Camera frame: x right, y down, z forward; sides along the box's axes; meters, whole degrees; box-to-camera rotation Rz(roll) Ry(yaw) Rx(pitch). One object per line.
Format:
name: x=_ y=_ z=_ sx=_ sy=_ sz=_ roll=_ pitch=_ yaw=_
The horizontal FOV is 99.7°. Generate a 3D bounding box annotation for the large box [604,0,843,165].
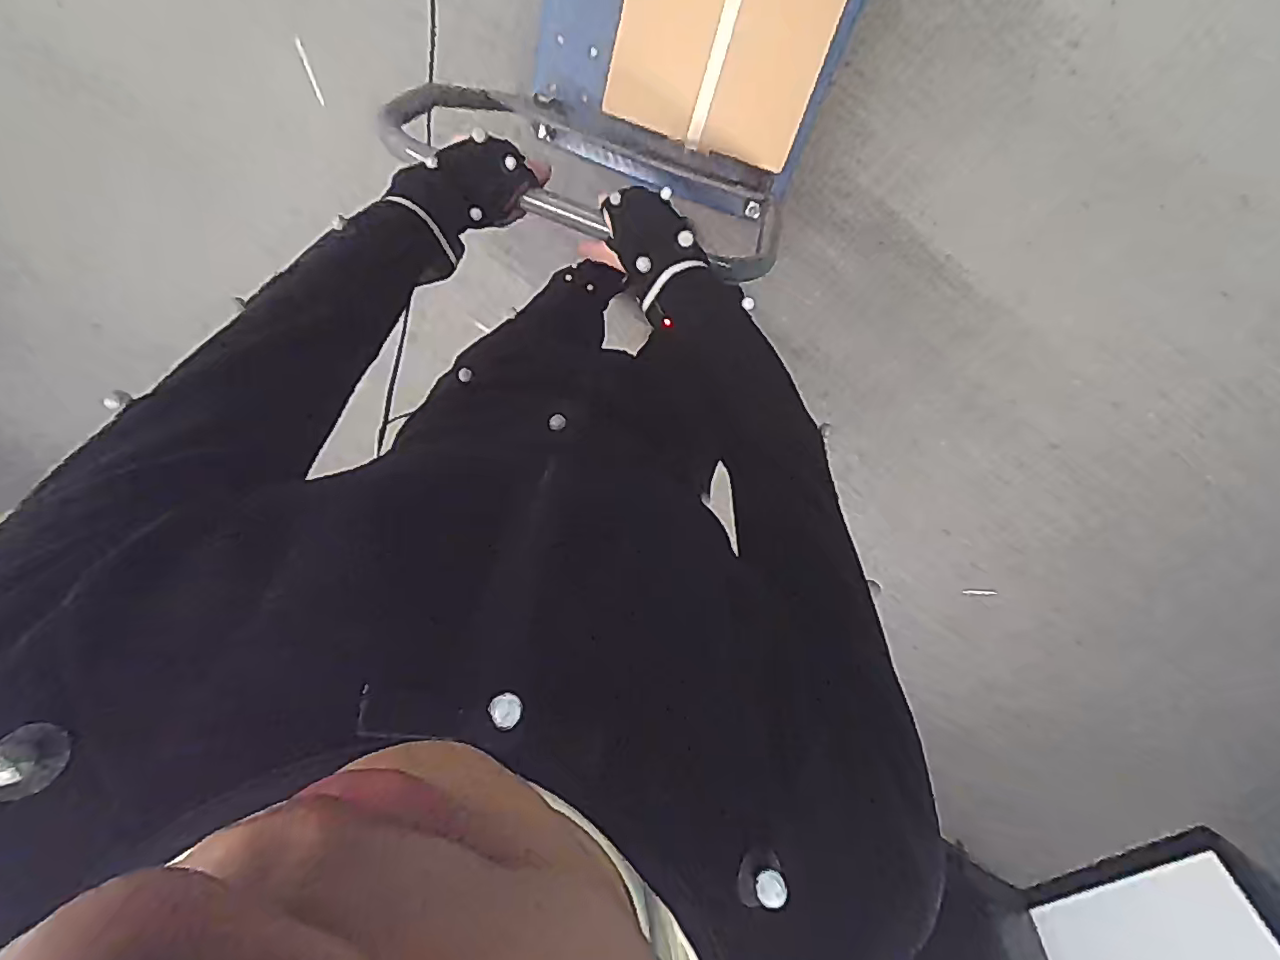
large box: x=0.161 y=-0.790 z=0.897 sx=0.320 sy=0.320 sz=0.408 roll=19 pitch=121 yaw=-2
